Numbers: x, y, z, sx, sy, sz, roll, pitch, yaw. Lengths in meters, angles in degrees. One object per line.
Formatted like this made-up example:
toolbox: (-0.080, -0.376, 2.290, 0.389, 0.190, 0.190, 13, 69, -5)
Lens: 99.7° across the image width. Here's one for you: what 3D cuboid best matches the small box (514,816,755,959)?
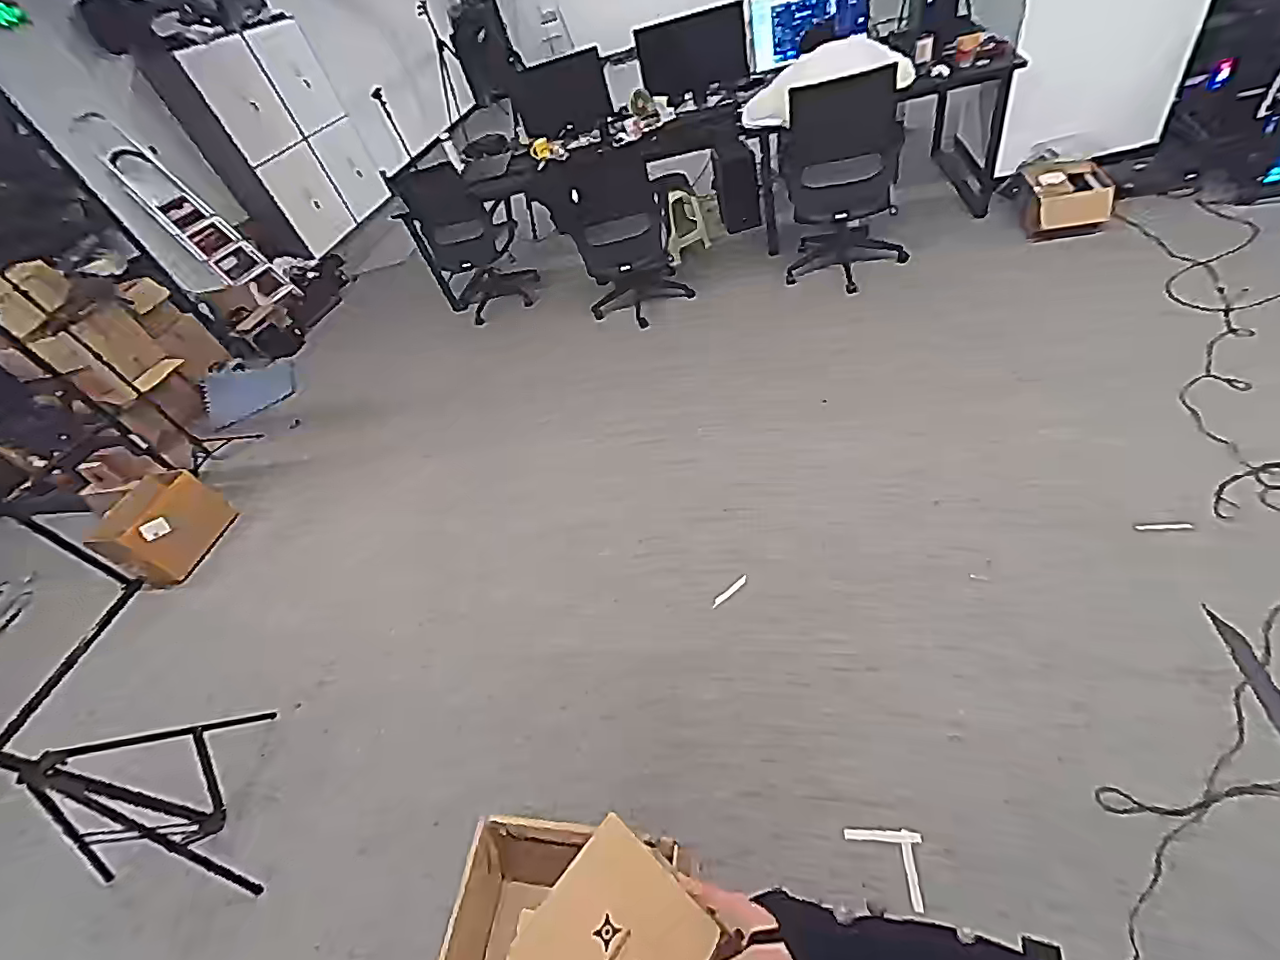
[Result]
small box: (0.001, 0.523, 0.590, 0.179, 0.176, 0.168, 22, 58, 43)
